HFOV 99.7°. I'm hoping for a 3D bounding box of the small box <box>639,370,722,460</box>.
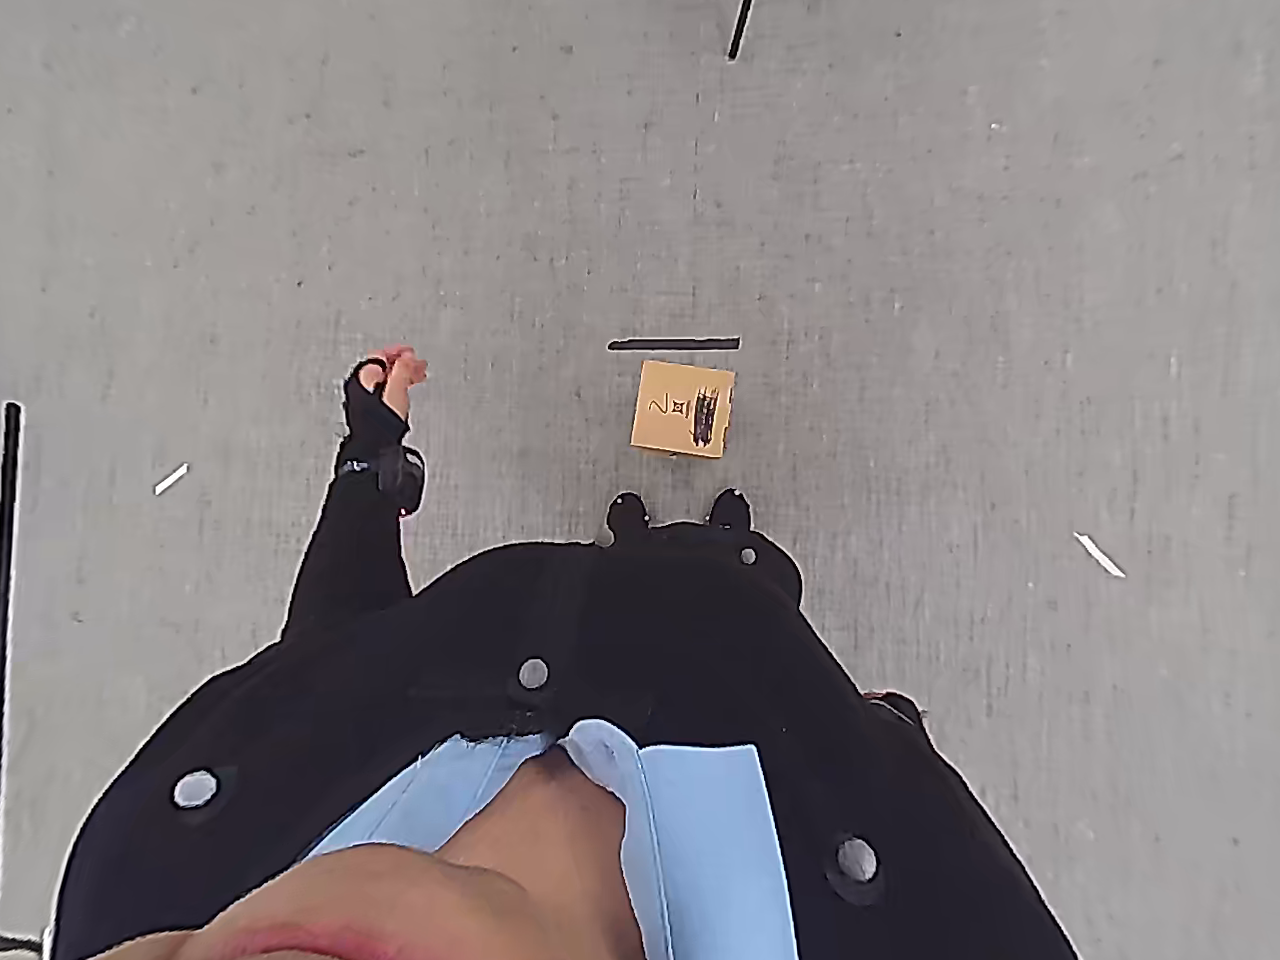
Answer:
[{"bbox_3d":[0.092,-0.145,1.253,0.168,0.176,0.179,7,90,4],"label":"small box"}]
